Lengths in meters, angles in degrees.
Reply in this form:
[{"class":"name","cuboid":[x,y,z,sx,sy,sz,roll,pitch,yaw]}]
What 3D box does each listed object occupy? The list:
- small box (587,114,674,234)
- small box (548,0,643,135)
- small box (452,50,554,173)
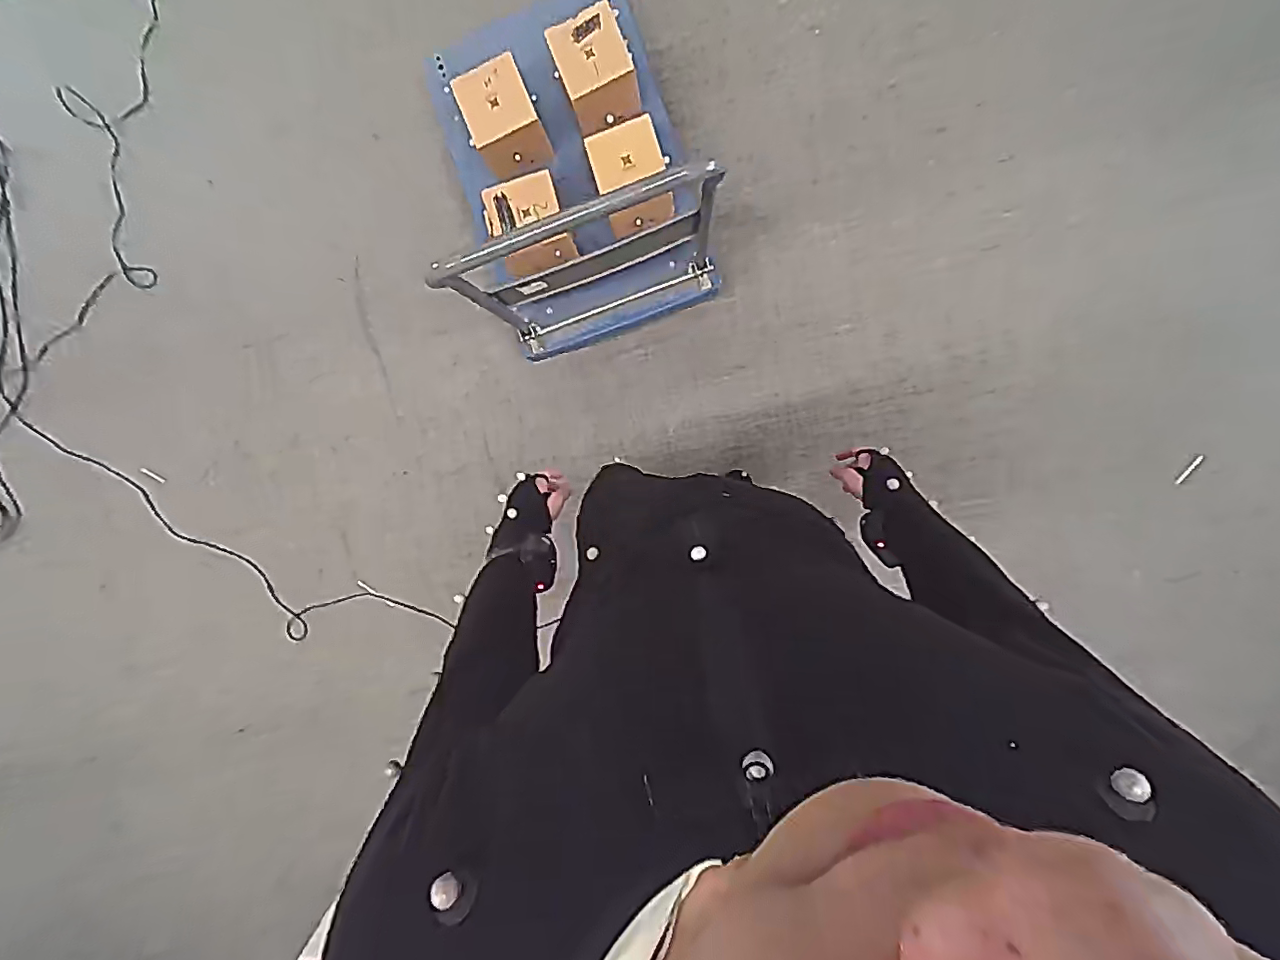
[{"class":"small box","cuboid":[-0.017,-0.747,1.337,0.168,0.176,0.179,-17,92,7]},{"class":"small box","cuboid":[-0.103,-1.003,1.328,0.168,0.176,0.179,-22,92,8]},{"class":"small box","cuboid":[-0.335,-0.908,1.359,0.168,0.176,0.179,-22,91,6]}]
